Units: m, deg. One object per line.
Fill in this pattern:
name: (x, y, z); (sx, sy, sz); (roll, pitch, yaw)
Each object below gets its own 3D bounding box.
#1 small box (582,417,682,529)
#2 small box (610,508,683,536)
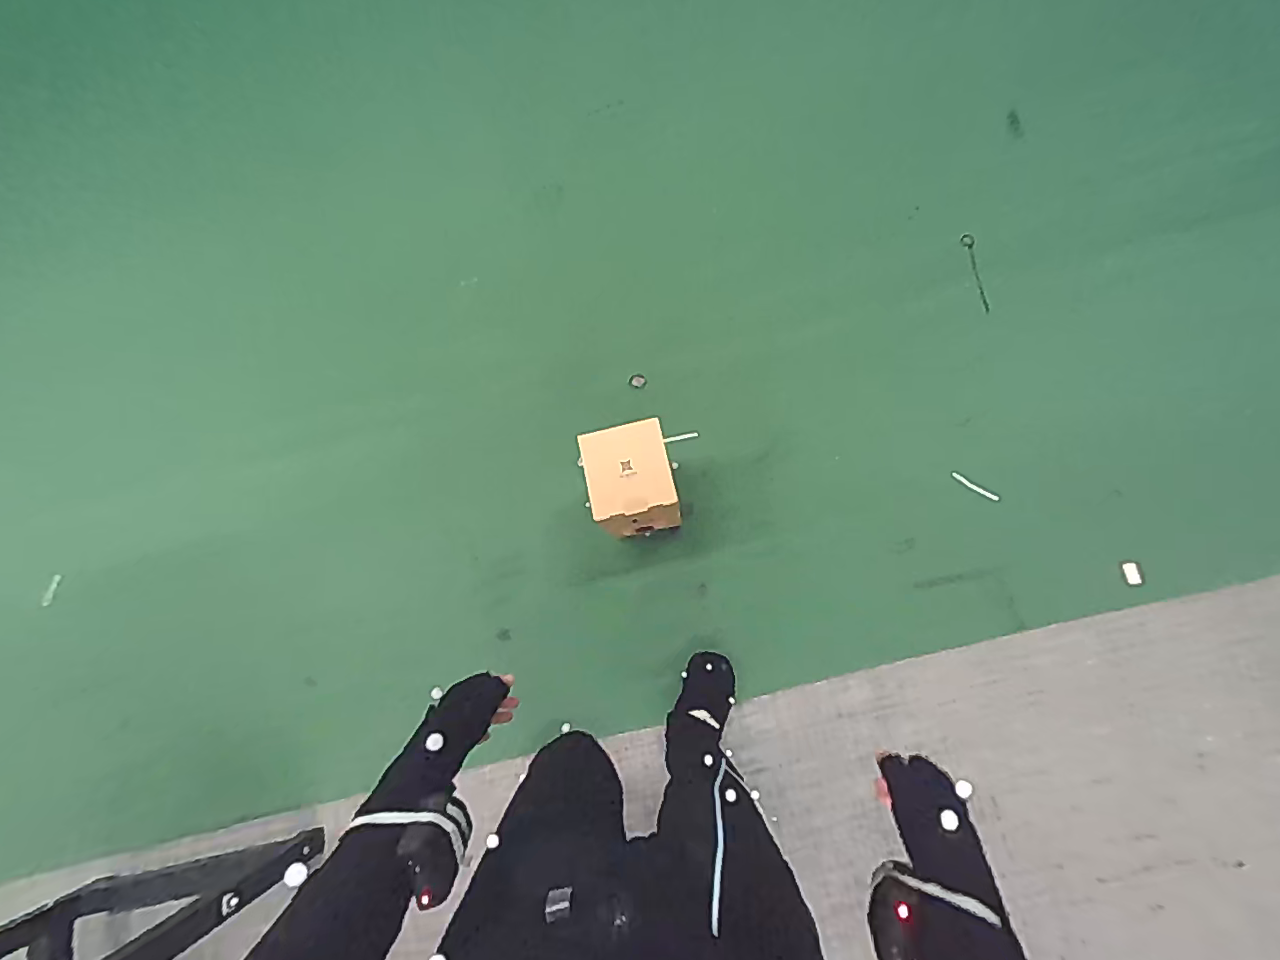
small box: (-0.012, -0.007, 1.119); (0.168, 0.176, 0.179); (-14, 78, 2)
small box: (0.005, 0.026, 1.278); (0.168, 0.176, 0.179); (-12, 78, 3)
